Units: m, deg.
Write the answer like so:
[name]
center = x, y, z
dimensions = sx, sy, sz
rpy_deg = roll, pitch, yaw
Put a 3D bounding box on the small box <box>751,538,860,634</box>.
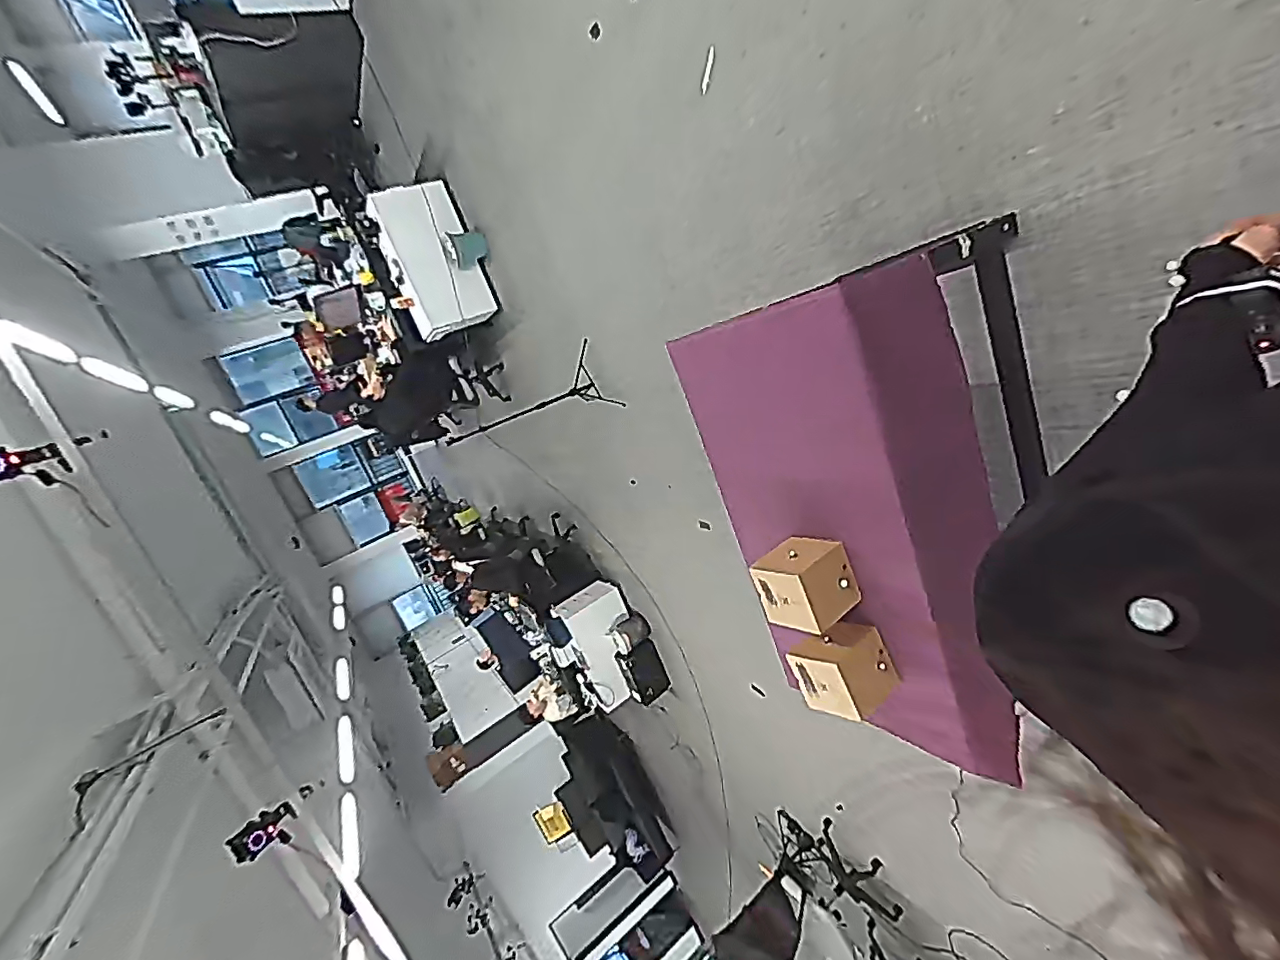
[small box]
center = 0.419, 0.258, 1.370
dimensions = 0.179, 0.176, 0.168
rpy_deg = -4, 112, 61
